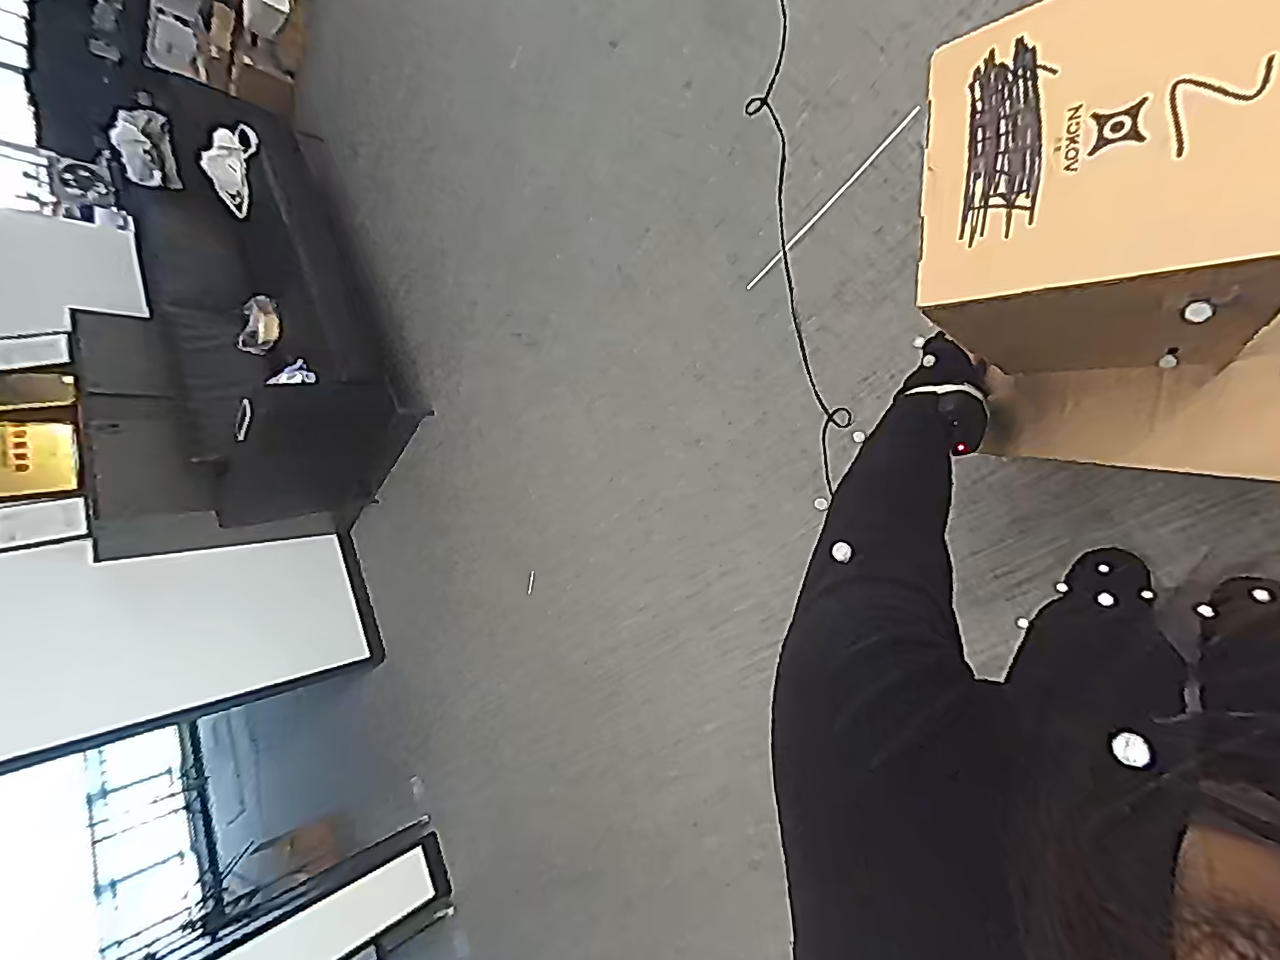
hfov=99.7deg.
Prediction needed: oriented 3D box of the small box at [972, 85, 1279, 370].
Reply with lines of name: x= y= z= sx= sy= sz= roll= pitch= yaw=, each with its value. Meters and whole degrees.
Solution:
small box: x=0.422 y=-0.194 z=0.483 sx=0.179 sy=0.176 sz=0.168 roll=6 pitch=94 yaw=44

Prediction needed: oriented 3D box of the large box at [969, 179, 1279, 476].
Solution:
large box: x=0.646 y=-0.168 z=0.608 sx=0.408 sy=0.320 sz=0.320 roll=11 pitch=99 yaw=42
